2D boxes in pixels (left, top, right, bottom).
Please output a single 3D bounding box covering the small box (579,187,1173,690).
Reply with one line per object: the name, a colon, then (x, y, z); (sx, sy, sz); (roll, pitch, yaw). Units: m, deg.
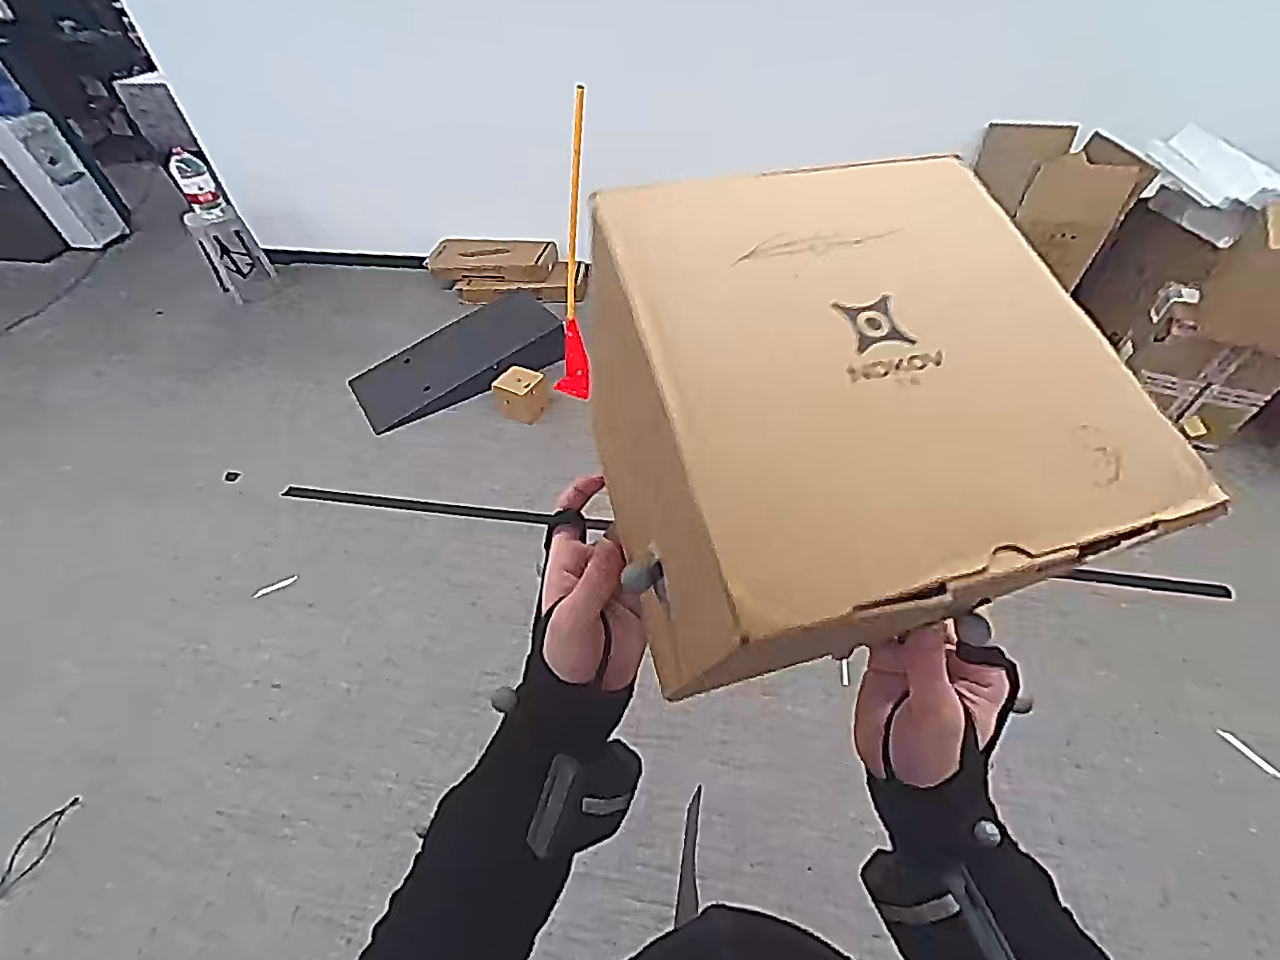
small box: (0.072, -0.006, 0.270); (0.168, 0.176, 0.179); (-13, 65, -11)
